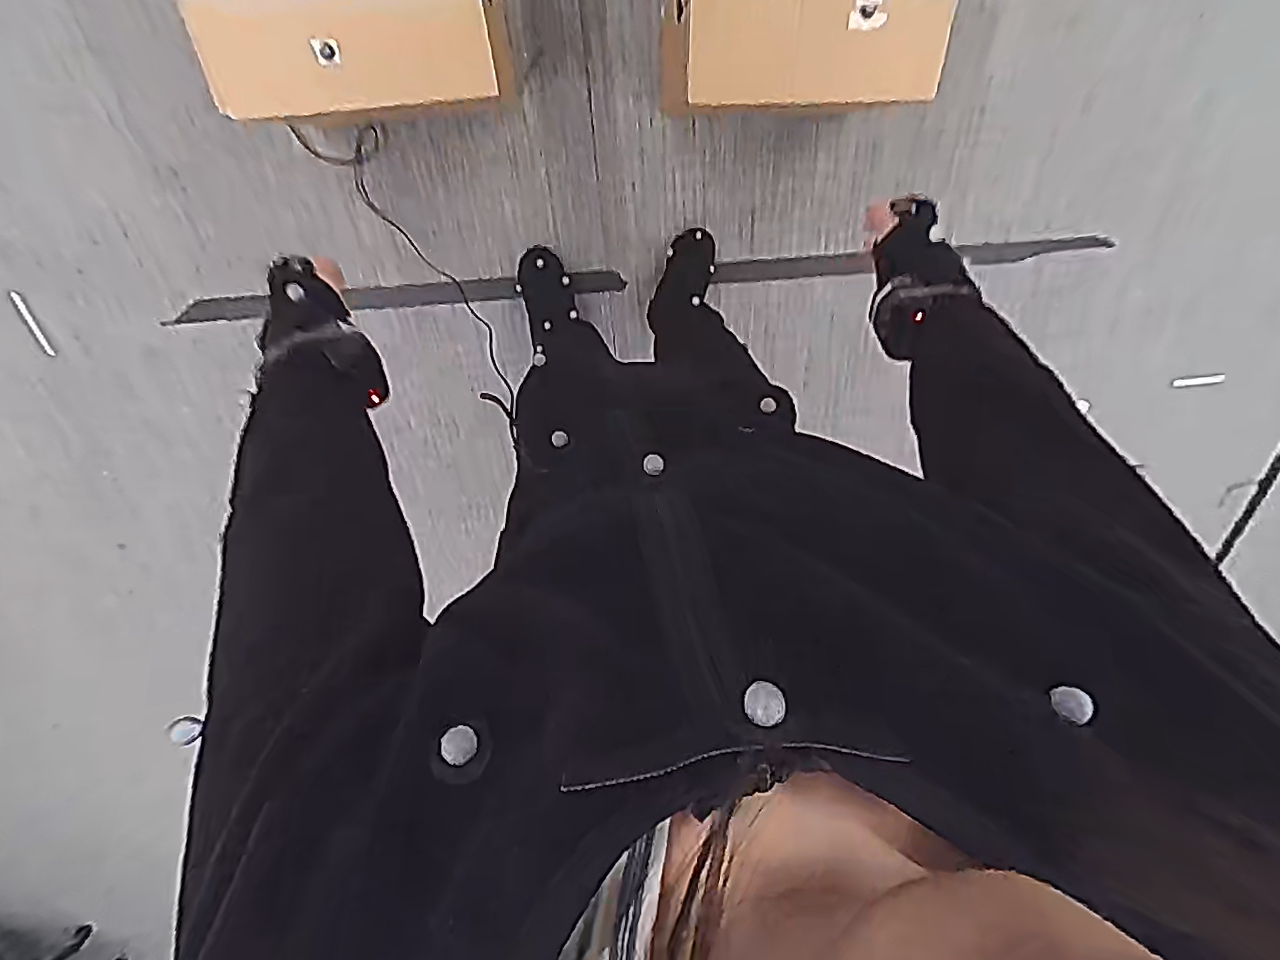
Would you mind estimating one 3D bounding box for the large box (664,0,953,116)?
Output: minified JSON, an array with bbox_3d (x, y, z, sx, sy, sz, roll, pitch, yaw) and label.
[{"bbox_3d":[0.256,-0.814,0.908,0.408,0.320,0.320,-4,122,-5],"label":"large box"}]
